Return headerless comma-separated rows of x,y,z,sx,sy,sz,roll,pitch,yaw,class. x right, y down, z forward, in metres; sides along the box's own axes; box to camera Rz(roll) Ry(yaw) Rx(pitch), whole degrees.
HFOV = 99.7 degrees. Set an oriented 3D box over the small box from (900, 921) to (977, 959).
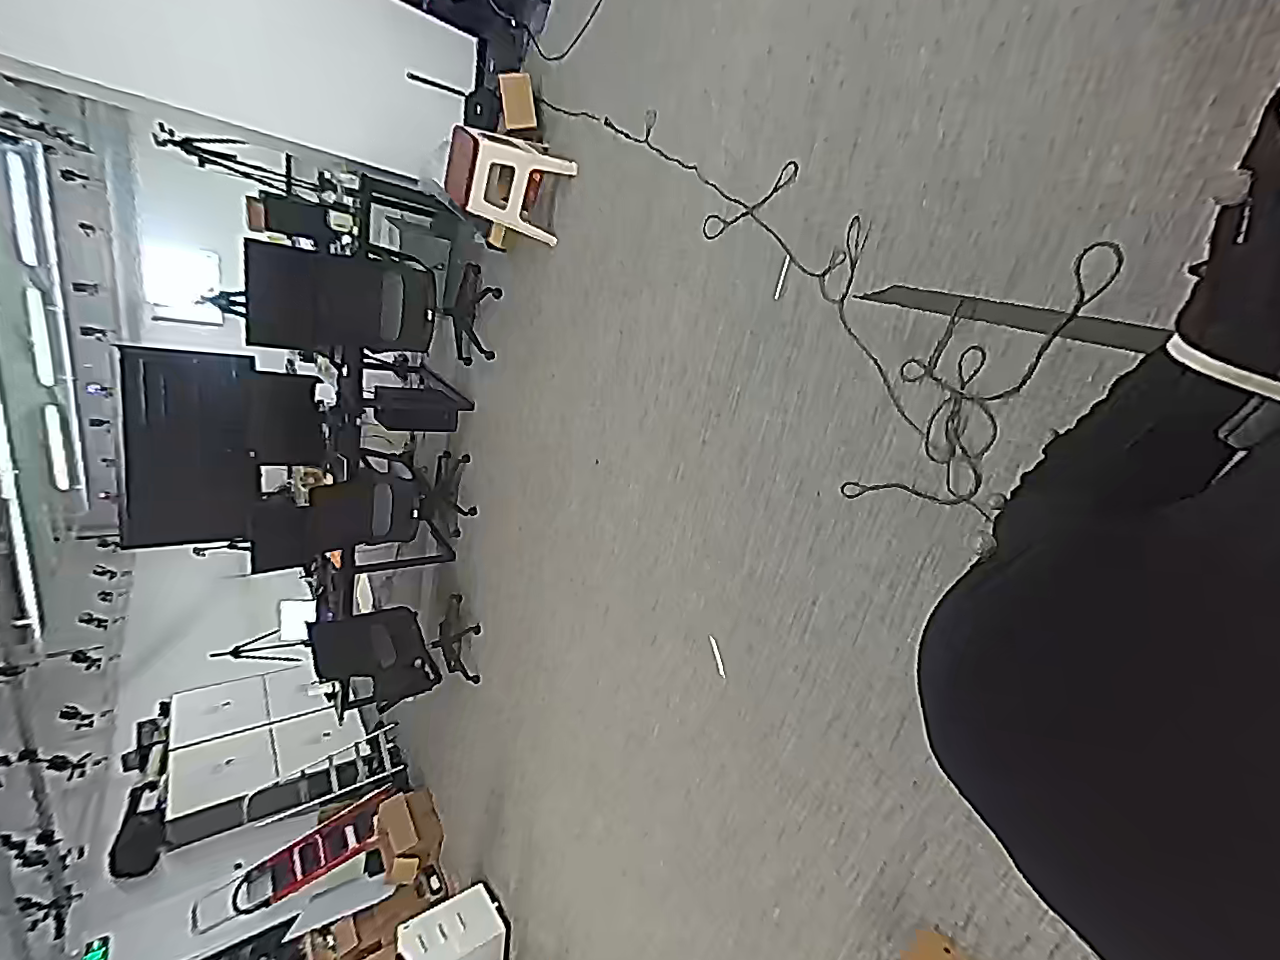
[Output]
0.744,1.270,1.347,0.168,0.176,0.179,30,115,47,small box
